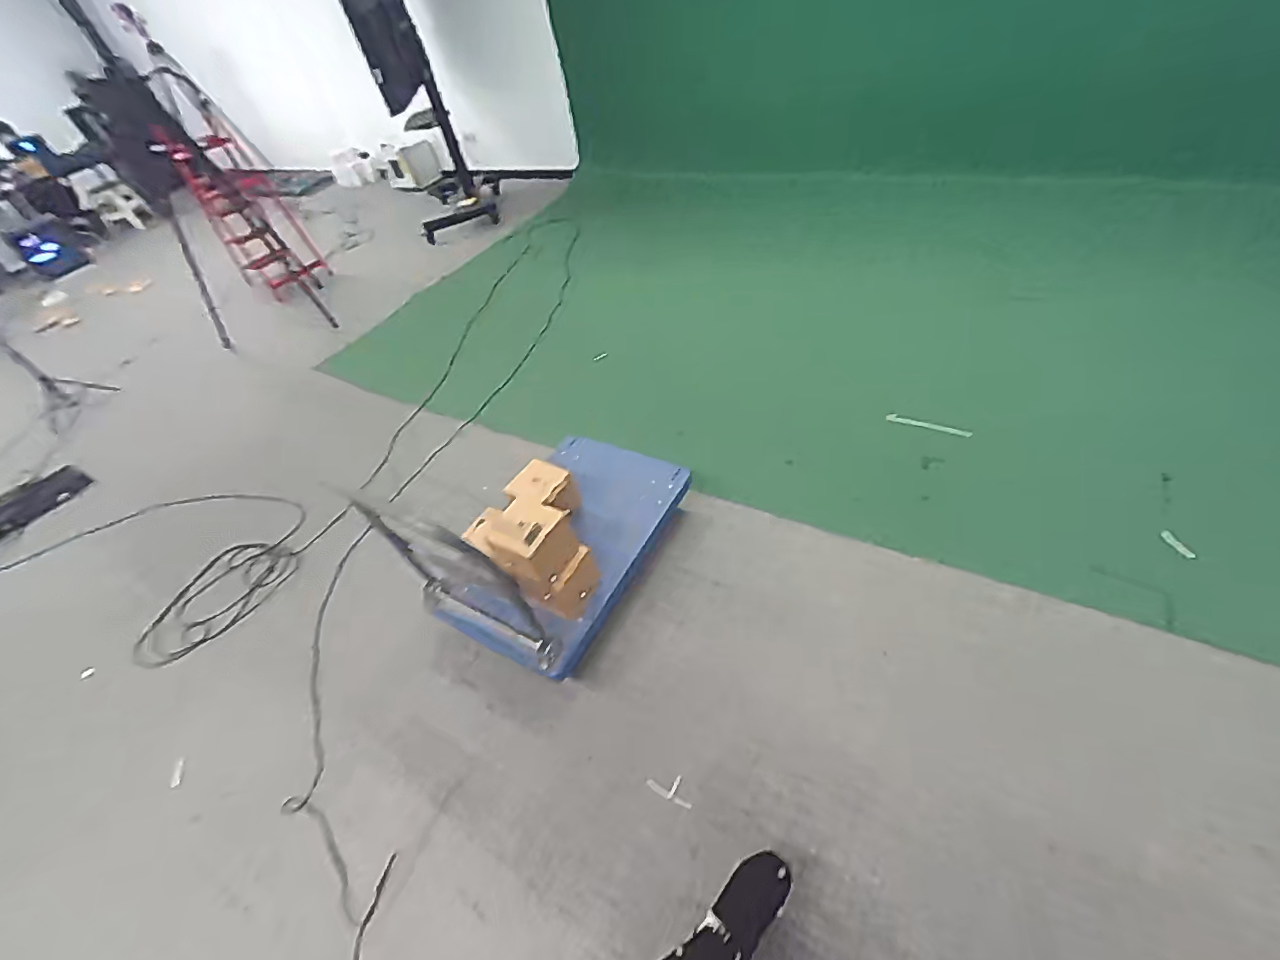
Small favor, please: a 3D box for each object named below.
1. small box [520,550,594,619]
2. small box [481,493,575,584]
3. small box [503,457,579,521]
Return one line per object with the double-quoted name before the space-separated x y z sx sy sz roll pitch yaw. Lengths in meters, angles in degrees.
"small box" -0.261 0.294 1.653 0.179 0.176 0.168 -28 49 -13
"small box" -0.309 0.171 1.539 0.179 0.176 0.168 18 53 28
"small box" -0.340 0.053 1.885 0.179 0.176 0.168 21 56 29
